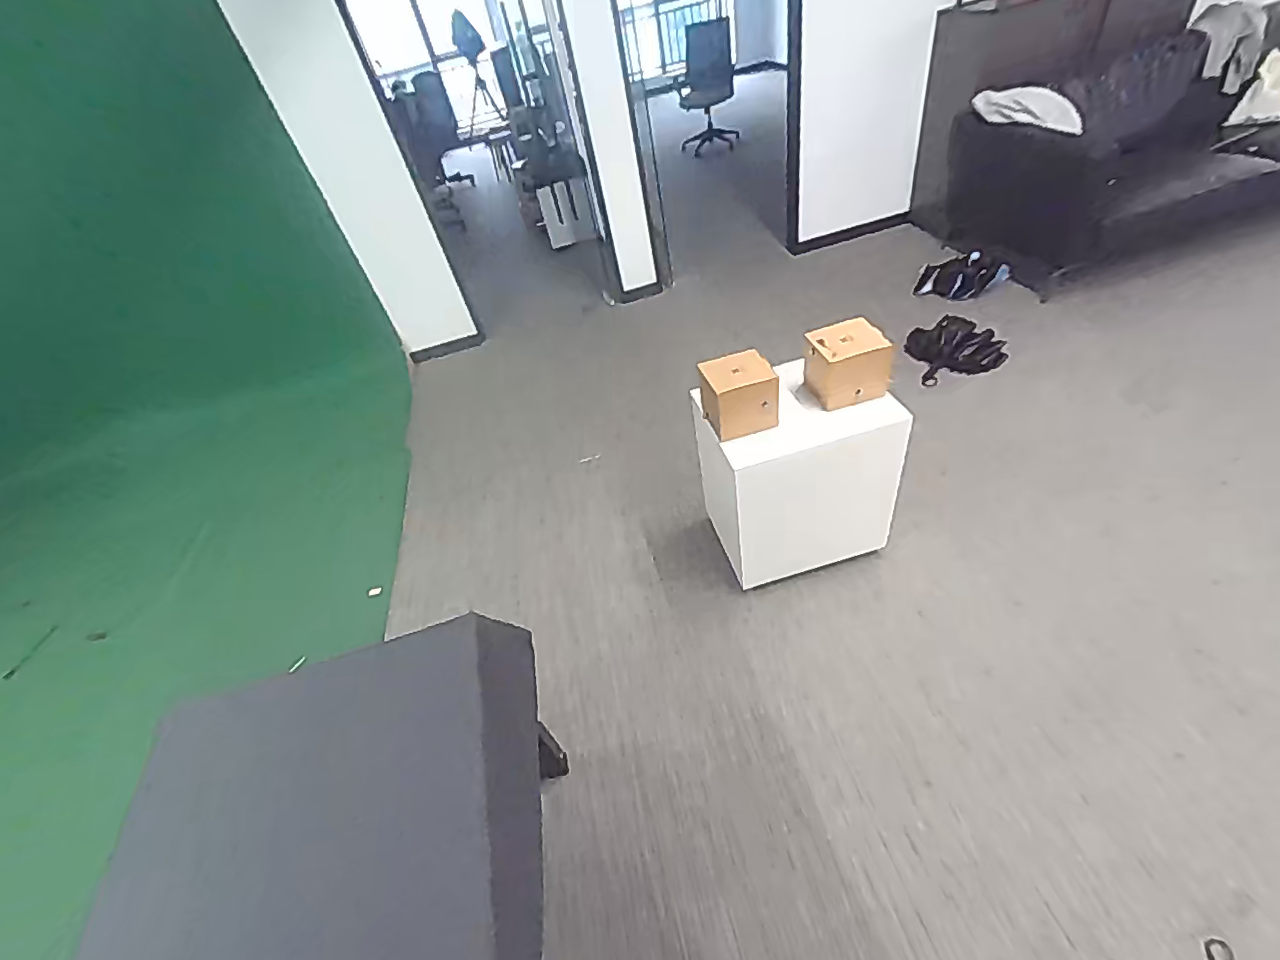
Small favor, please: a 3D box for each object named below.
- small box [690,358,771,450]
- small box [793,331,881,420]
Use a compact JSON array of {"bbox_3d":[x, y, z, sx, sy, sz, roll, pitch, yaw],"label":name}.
[{"bbox_3d":[0.249,-0.211,1.507,0.179,0.176,0.168,-17,41,-7],"label":"small box"},{"bbox_3d":[0.550,-0.294,1.535,0.179,0.176,0.168,-14,42,-4],"label":"small box"}]
